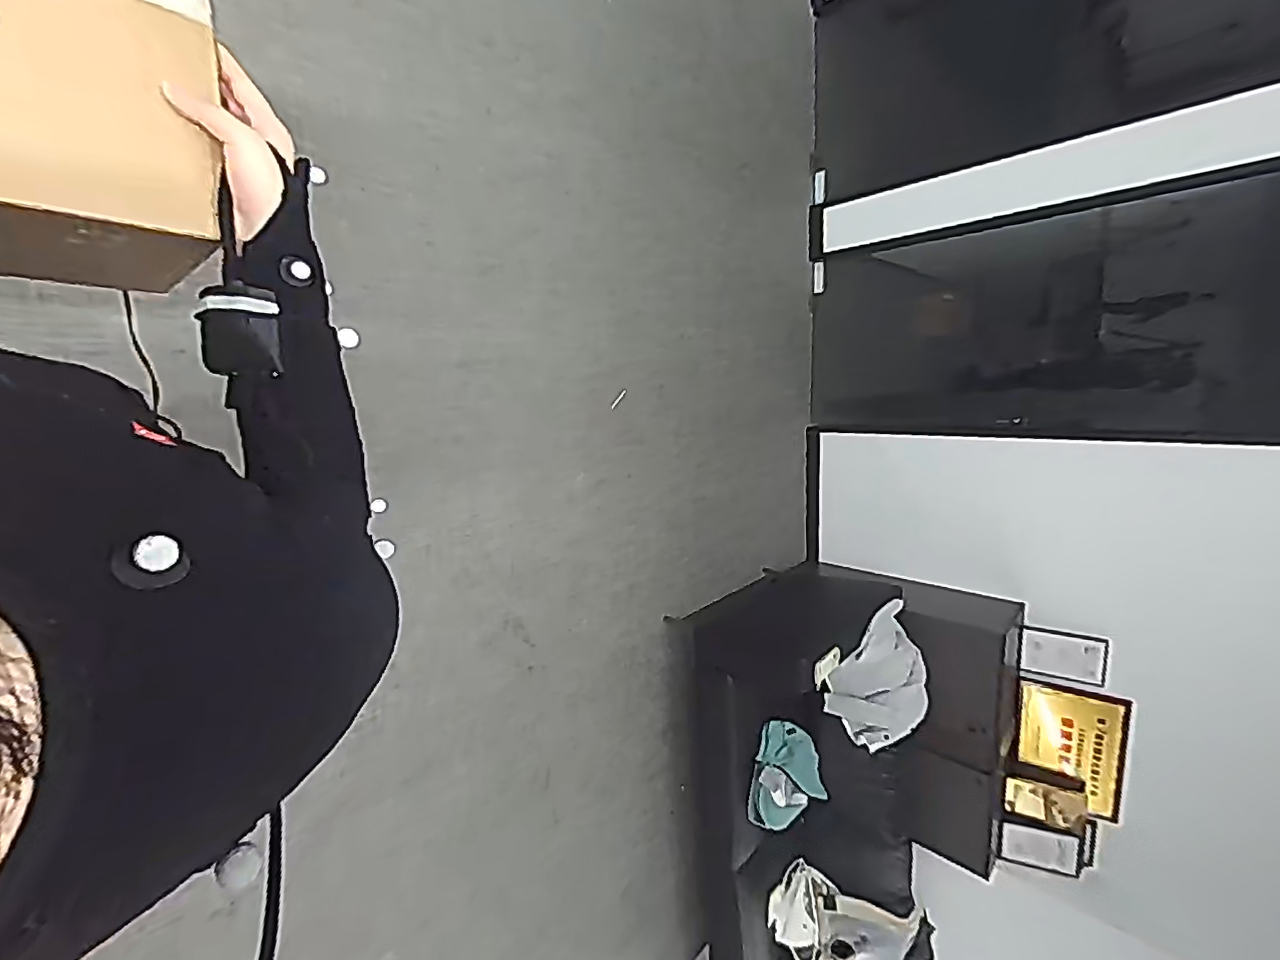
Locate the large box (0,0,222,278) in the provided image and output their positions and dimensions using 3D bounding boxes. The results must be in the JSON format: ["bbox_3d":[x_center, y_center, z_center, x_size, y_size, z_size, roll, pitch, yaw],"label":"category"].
[{"bbox_3d":[-0.564,-0.336,0.340,0.408,0.320,0.320,-10,104,-49],"label":"large box"}]
